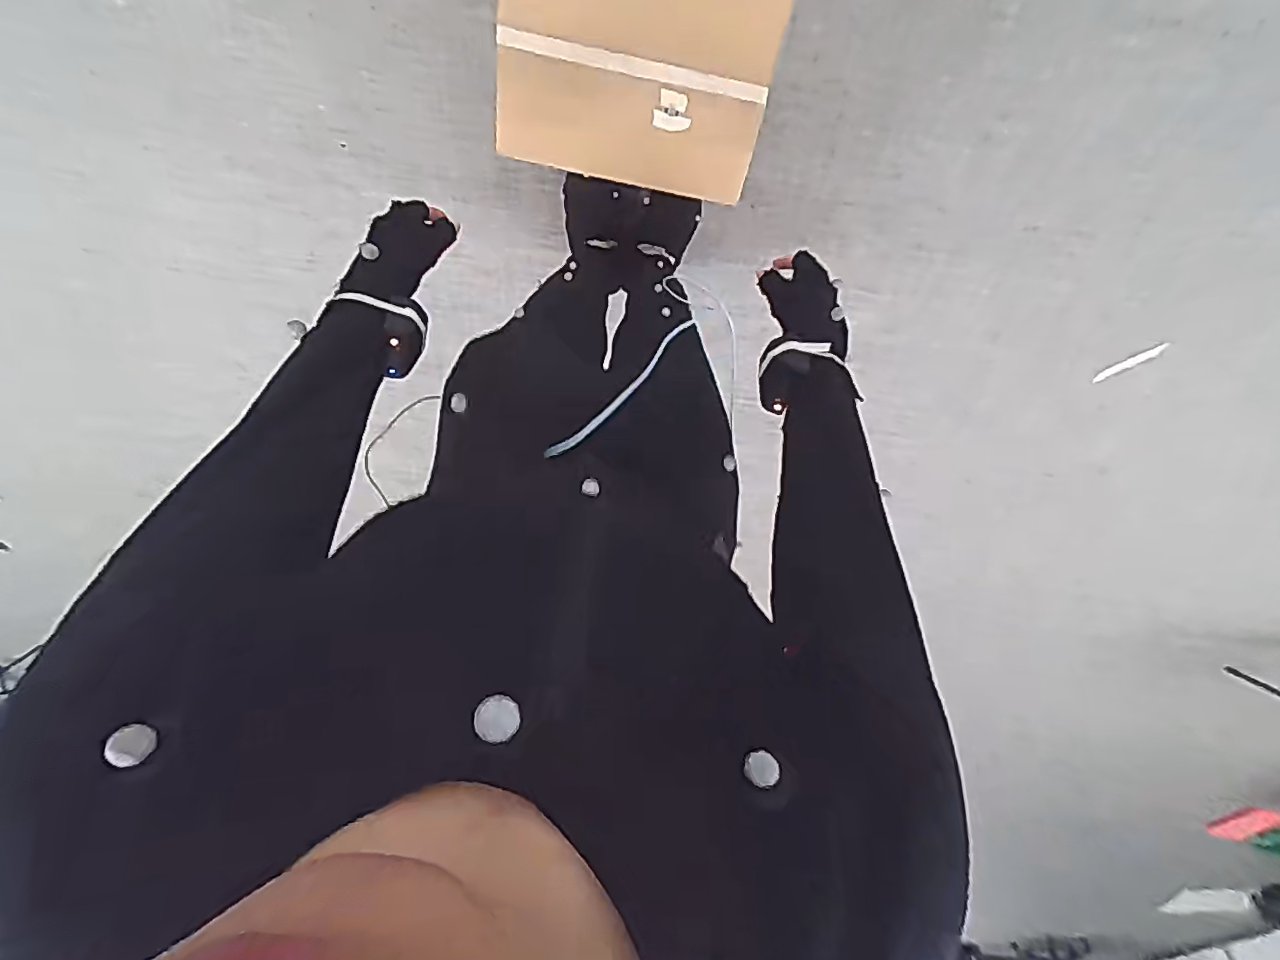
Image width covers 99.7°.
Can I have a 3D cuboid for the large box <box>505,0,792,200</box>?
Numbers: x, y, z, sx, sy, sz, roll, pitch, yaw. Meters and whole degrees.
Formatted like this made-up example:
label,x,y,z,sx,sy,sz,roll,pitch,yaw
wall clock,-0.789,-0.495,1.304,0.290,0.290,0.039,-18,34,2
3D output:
label,x,y,z,sx,sy,sz,roll,pitch,yaw
large box,0.000,-0.713,0.921,0.408,0.320,0.320,9,131,-6
